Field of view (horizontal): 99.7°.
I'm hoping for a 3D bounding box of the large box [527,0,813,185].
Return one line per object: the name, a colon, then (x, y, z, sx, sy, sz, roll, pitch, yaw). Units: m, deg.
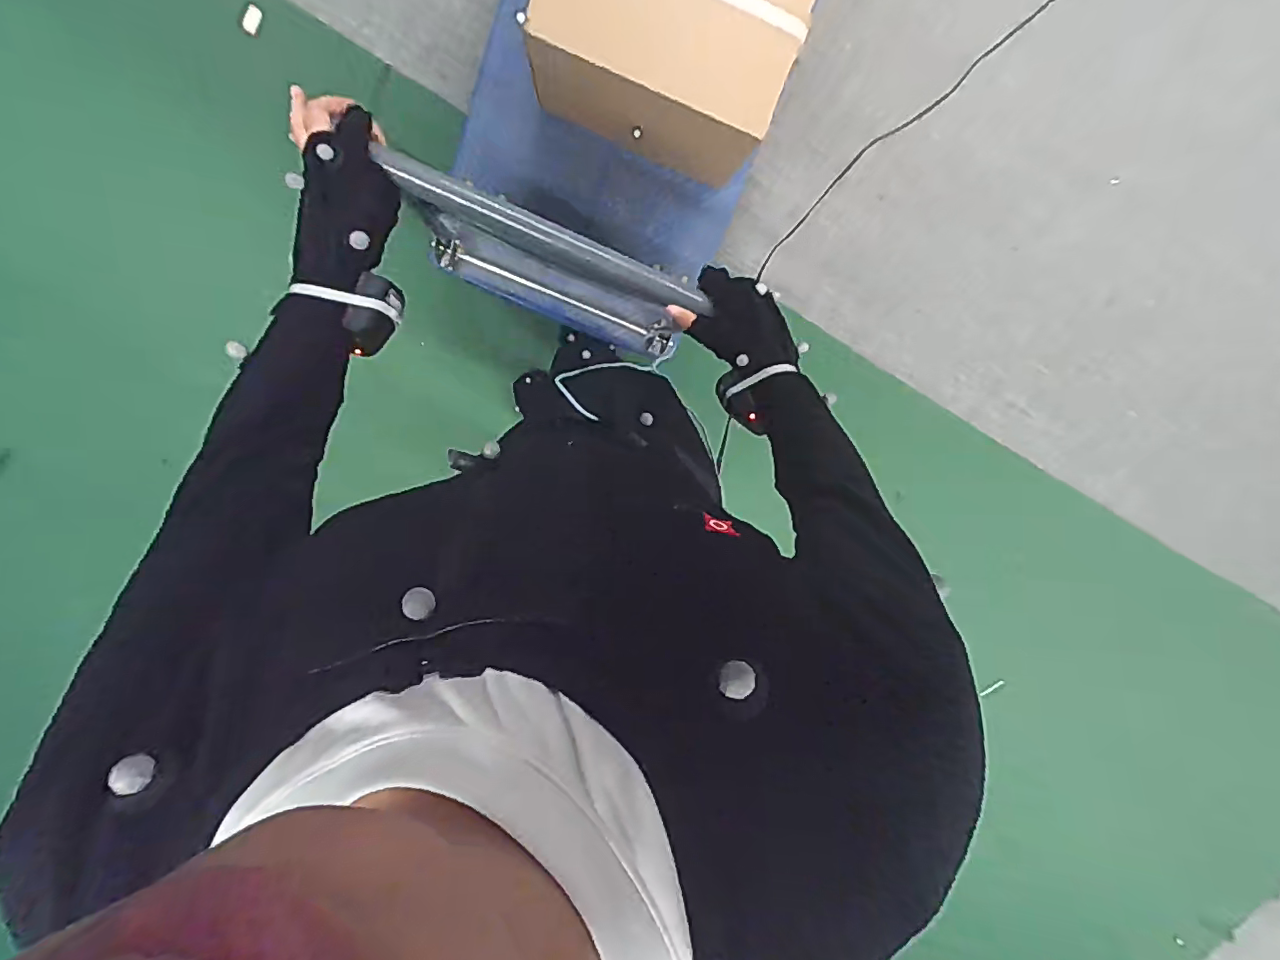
large box: (0.053, -0.789, 0.961, 0.408, 0.320, 0.320, 18, 101, -9)
